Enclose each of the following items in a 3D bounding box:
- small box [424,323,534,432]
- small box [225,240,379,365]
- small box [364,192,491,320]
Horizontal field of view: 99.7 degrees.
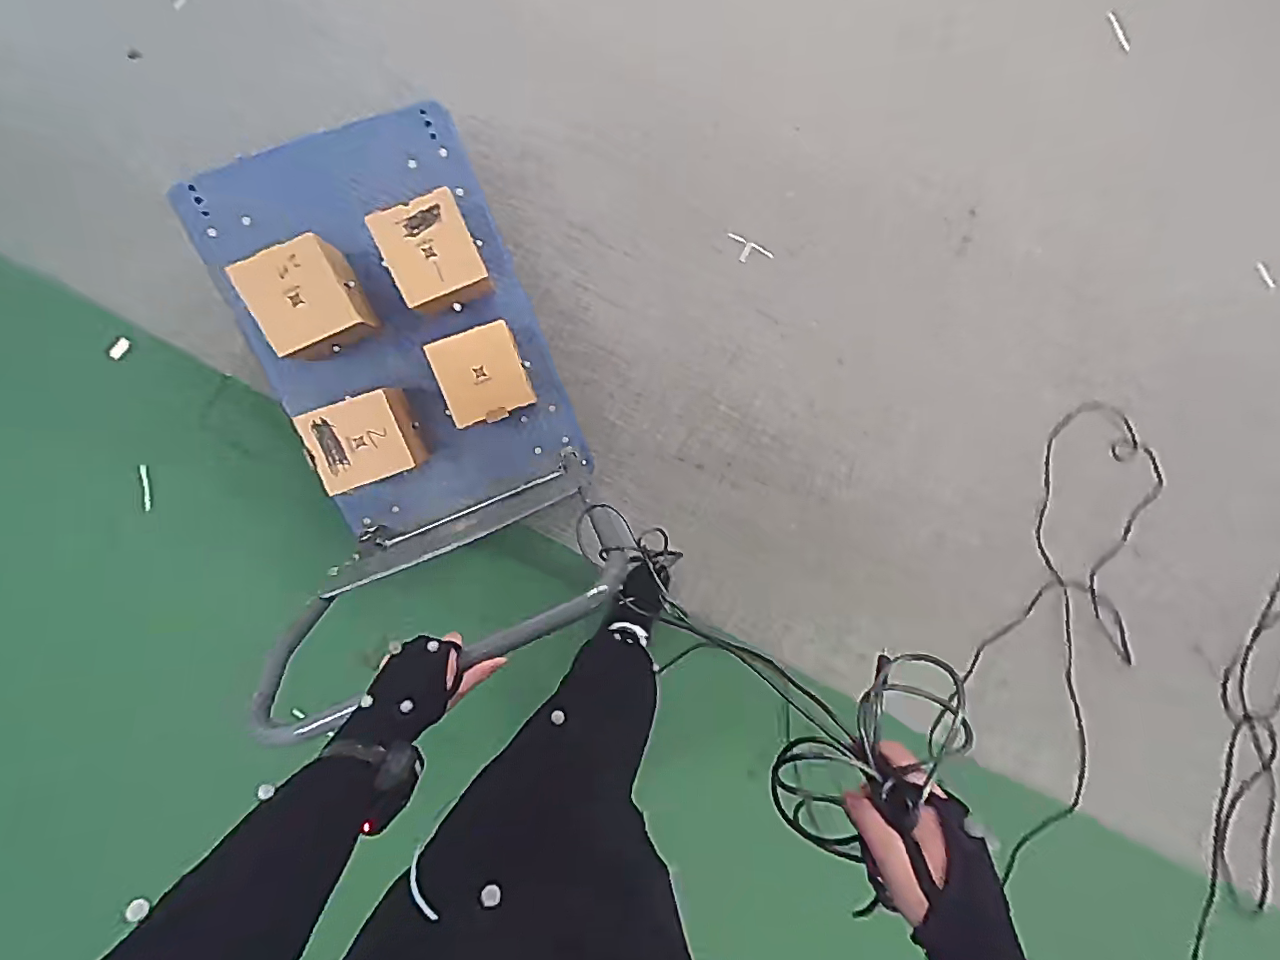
[{"bbox_3d":[-0.335,-0.215,1.150,0.168,0.176,0.179,-21,104,-6],"label":"small box"},{"bbox_3d":[-0.651,-0.340,1.069,0.168,0.176,0.179,-27,103,-6],"label":"small box"},{"bbox_3d":[-0.418,-0.442,1.095,0.168,0.176,0.179,-25,104,-5],"label":"small box"}]
